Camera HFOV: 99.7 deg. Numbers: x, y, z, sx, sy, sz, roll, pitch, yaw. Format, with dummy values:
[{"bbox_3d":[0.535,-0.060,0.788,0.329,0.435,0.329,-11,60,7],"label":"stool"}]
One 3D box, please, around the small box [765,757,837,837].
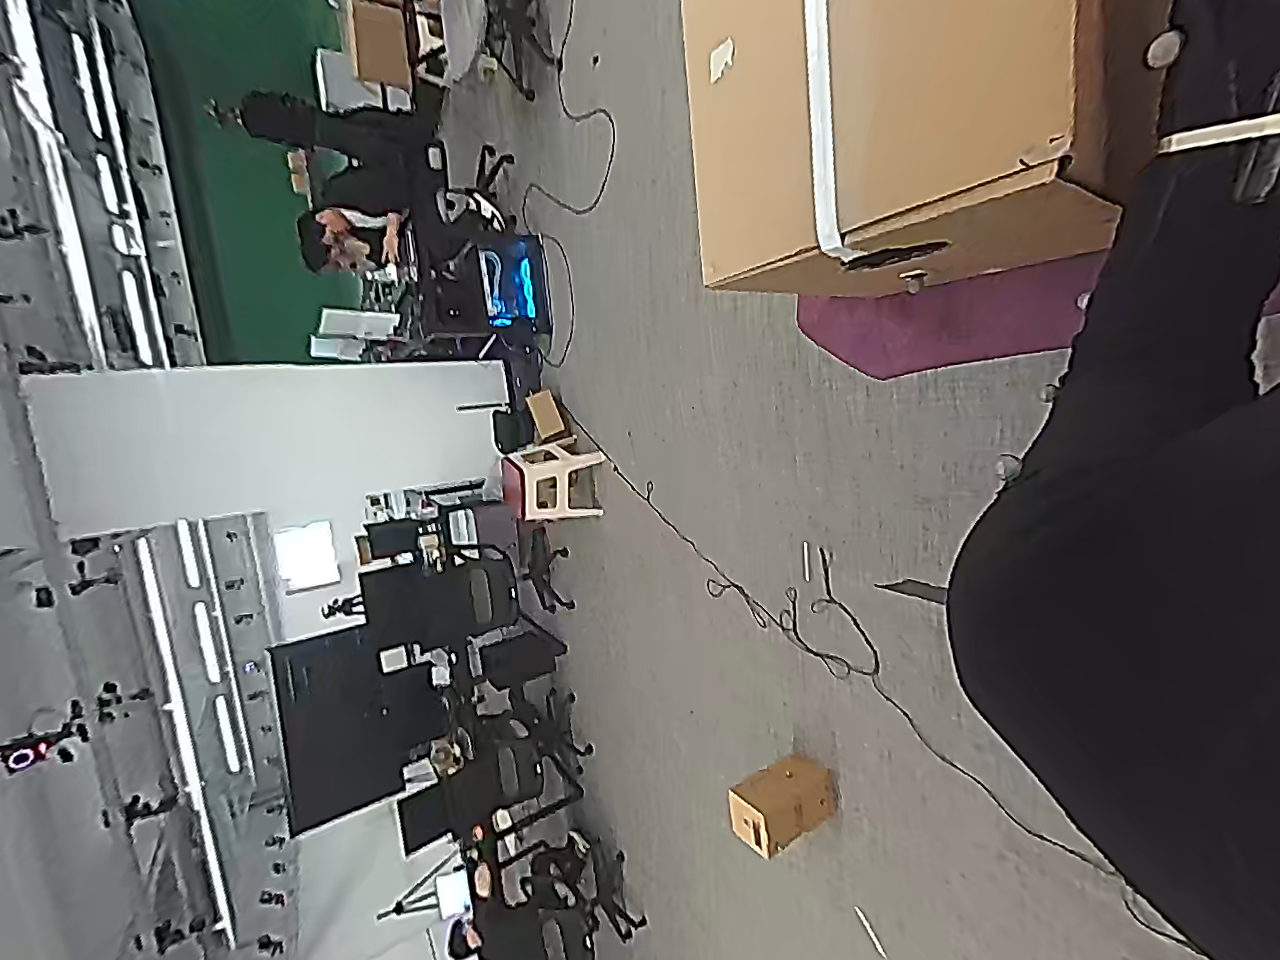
[{"bbox_3d":[0.582,1.136,1.956,0.179,0.176,0.168,-5,95,58],"label":"small box"}]
